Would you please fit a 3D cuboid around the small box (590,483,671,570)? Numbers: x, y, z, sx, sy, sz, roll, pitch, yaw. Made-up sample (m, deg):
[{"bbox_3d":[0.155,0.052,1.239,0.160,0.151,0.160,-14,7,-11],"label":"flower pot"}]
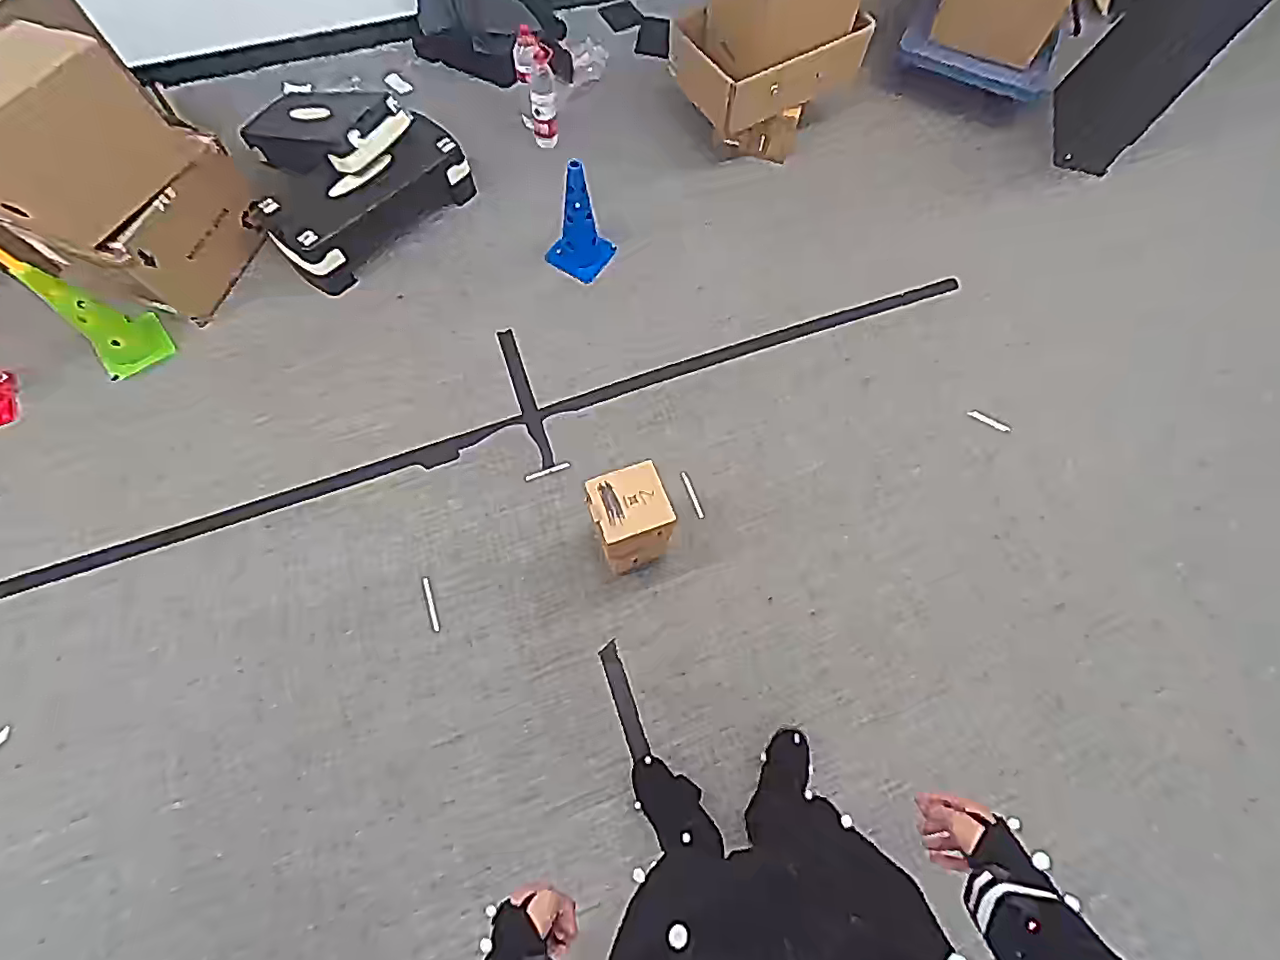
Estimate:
[{"bbox_3d":[-0.028,0.137,1.491,0.168,0.176,0.179,-22,71,-10],"label":"small box"}]
